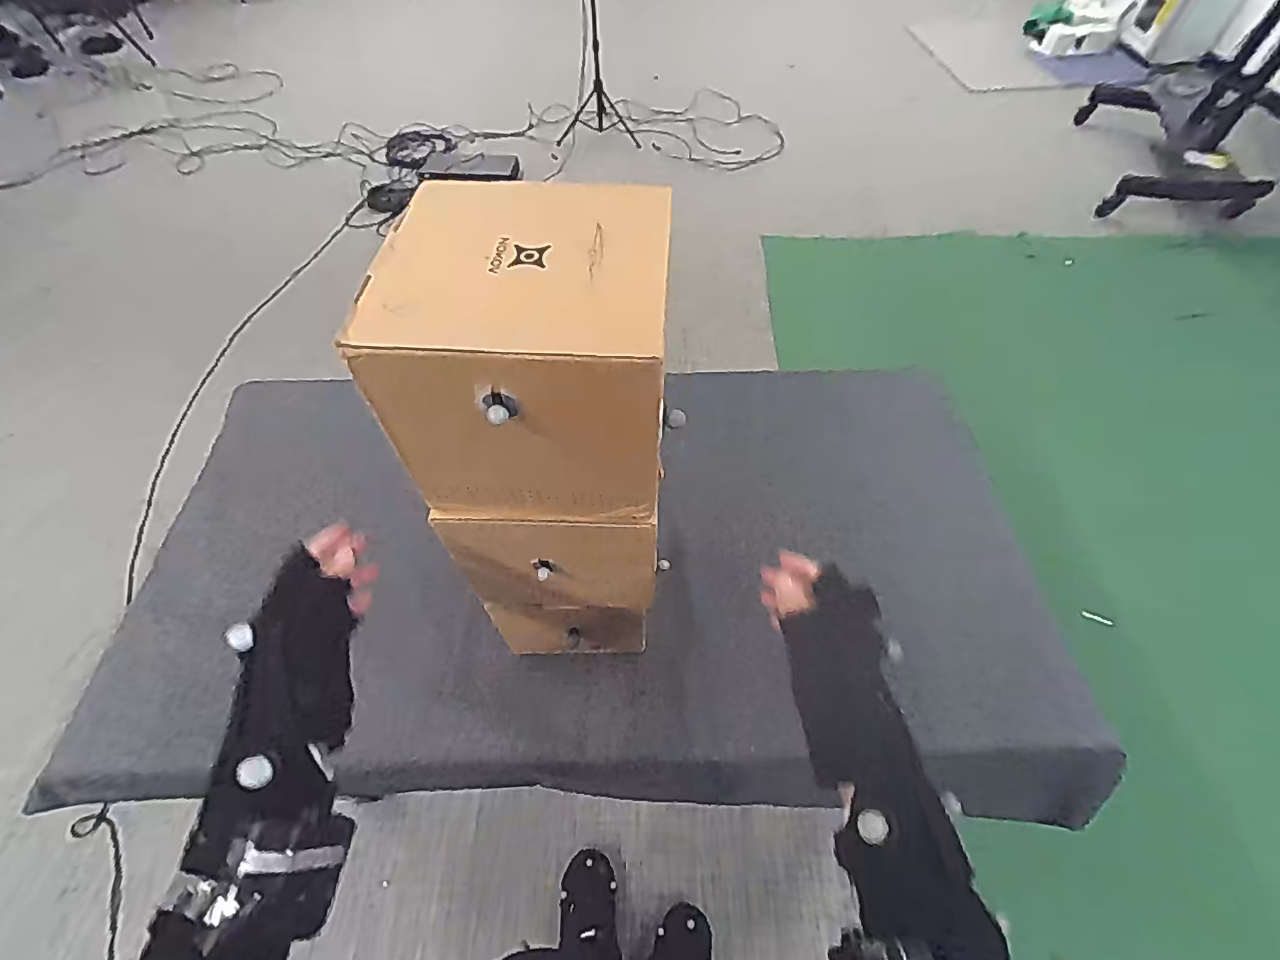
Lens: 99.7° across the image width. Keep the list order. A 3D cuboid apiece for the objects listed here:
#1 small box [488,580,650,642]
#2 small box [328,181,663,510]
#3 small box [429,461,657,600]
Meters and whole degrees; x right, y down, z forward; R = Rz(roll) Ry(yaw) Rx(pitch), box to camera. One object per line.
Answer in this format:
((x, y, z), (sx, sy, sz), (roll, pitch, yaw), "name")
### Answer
((-0.073, 0.093, 0.662), (0.168, 0.176, 0.179), (-2, 57, 0), "small box")
((-0.074, -0.088, 0.391), (0.179, 0.176, 0.168), (2, 57, 2), "small box")
((-0.072, 0.008, 0.520), (0.179, 0.176, 0.168), (0, 56, 2), "small box")
